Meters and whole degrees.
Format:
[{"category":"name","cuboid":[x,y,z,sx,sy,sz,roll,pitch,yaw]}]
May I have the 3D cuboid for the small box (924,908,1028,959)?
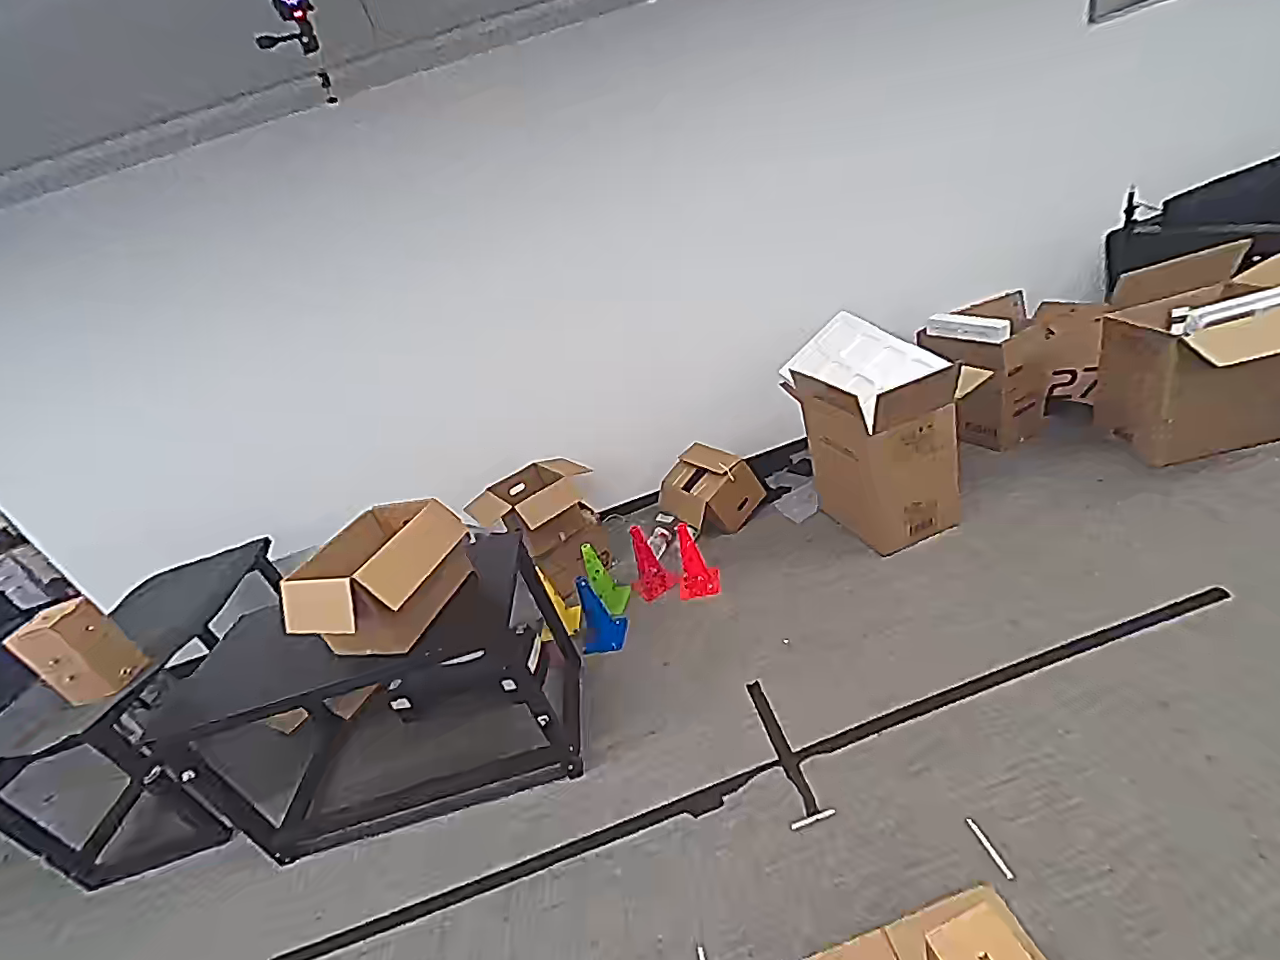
[{"category":"small box","cuboid":[0.727,1.062,1.130,0.168,0.176,0.179,-22,26,-7]}]
